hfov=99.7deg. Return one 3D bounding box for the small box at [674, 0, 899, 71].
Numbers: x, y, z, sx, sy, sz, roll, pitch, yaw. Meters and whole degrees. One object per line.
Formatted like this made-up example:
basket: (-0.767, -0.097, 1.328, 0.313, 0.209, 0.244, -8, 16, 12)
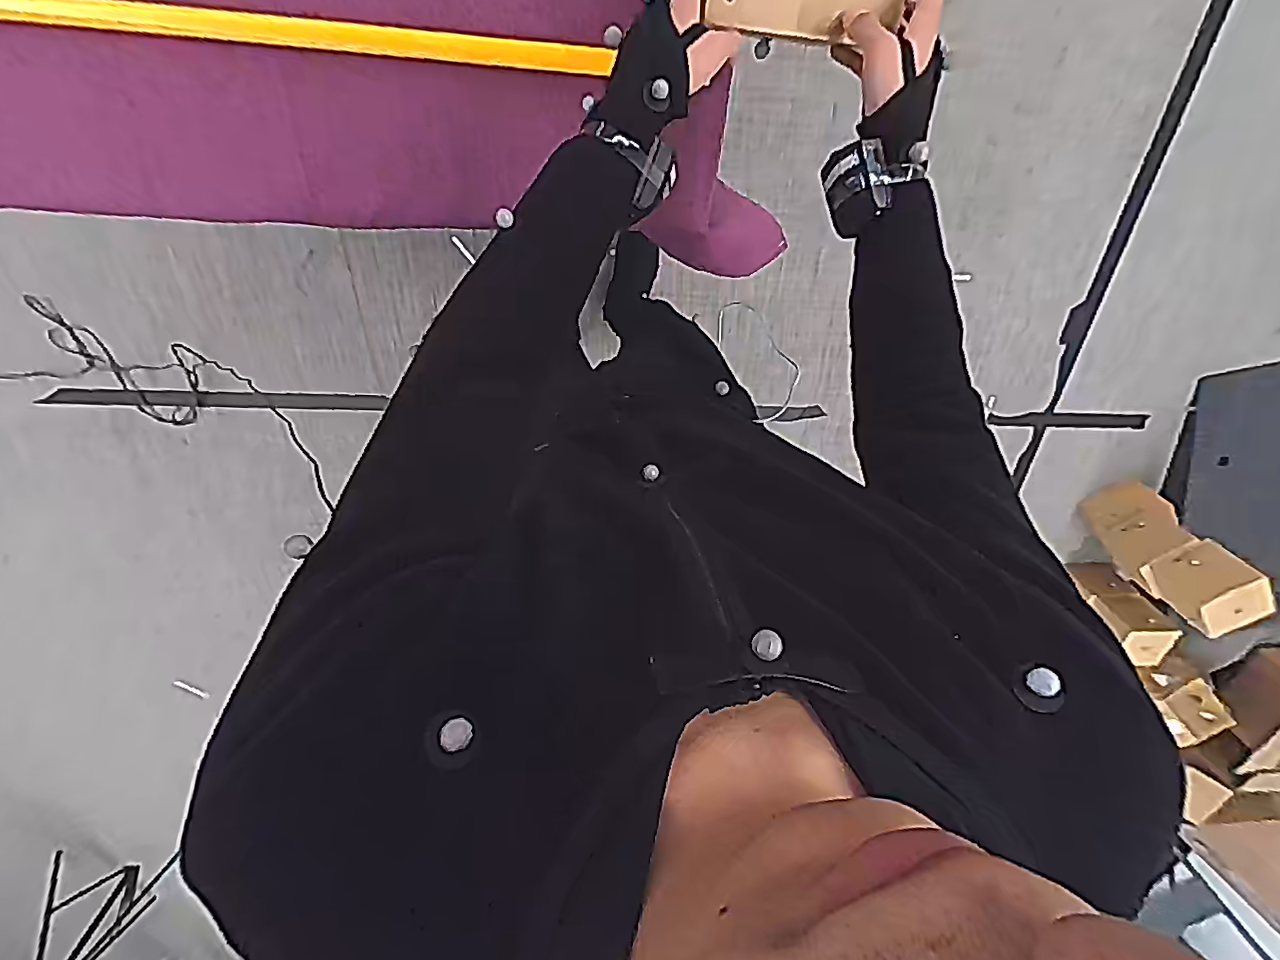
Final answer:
small box: (0.137, -0.497, 0.499, 0.179, 0.176, 0.168, 3, 129, -7)
